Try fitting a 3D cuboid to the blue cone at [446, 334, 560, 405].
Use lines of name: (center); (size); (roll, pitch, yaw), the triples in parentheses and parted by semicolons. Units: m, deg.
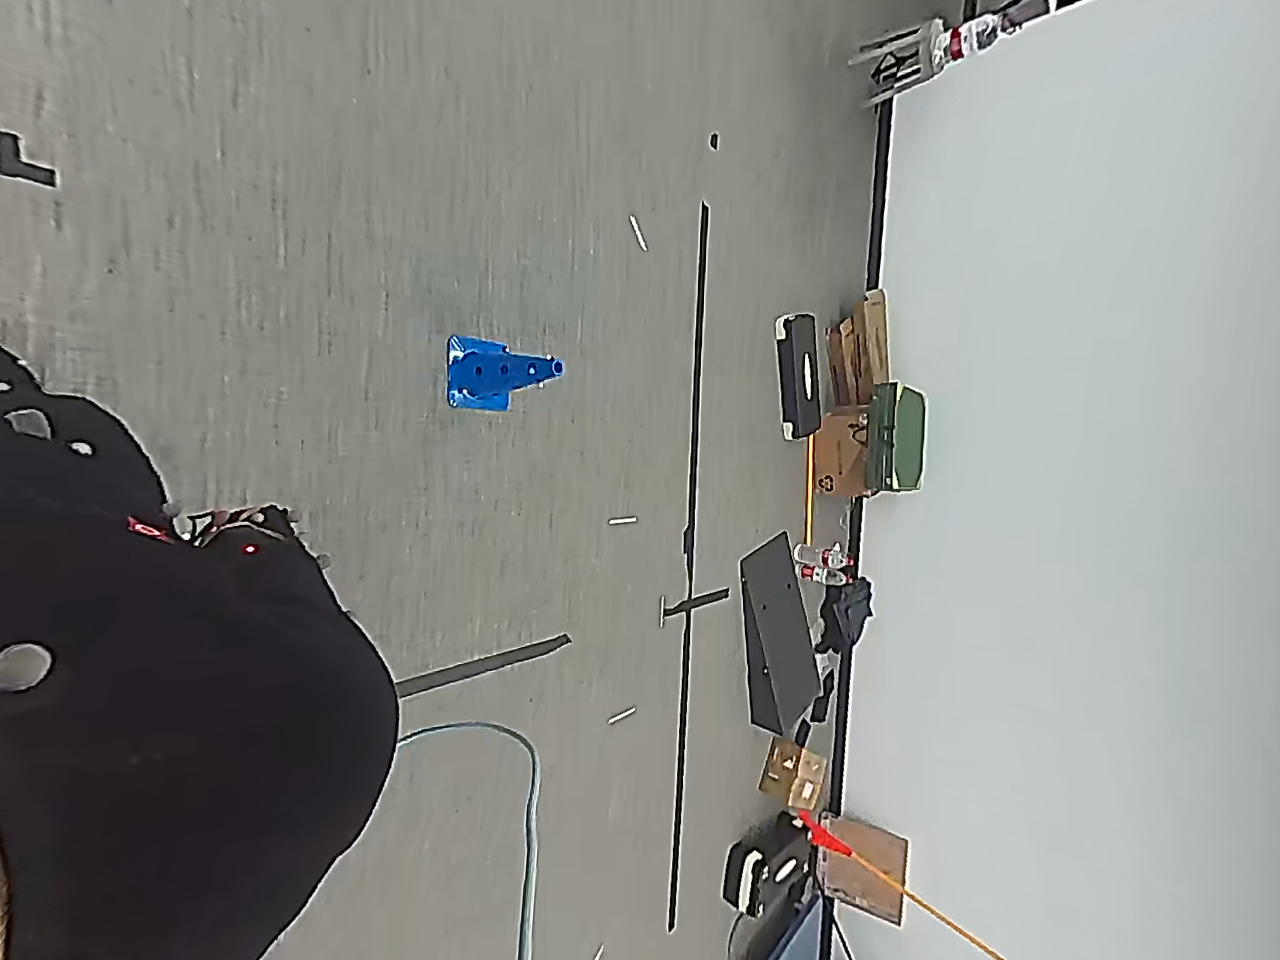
blue cone: (-0.347, -0.305, 1.446); (0.193, 0.380, 0.192); (0, 94, -49)
